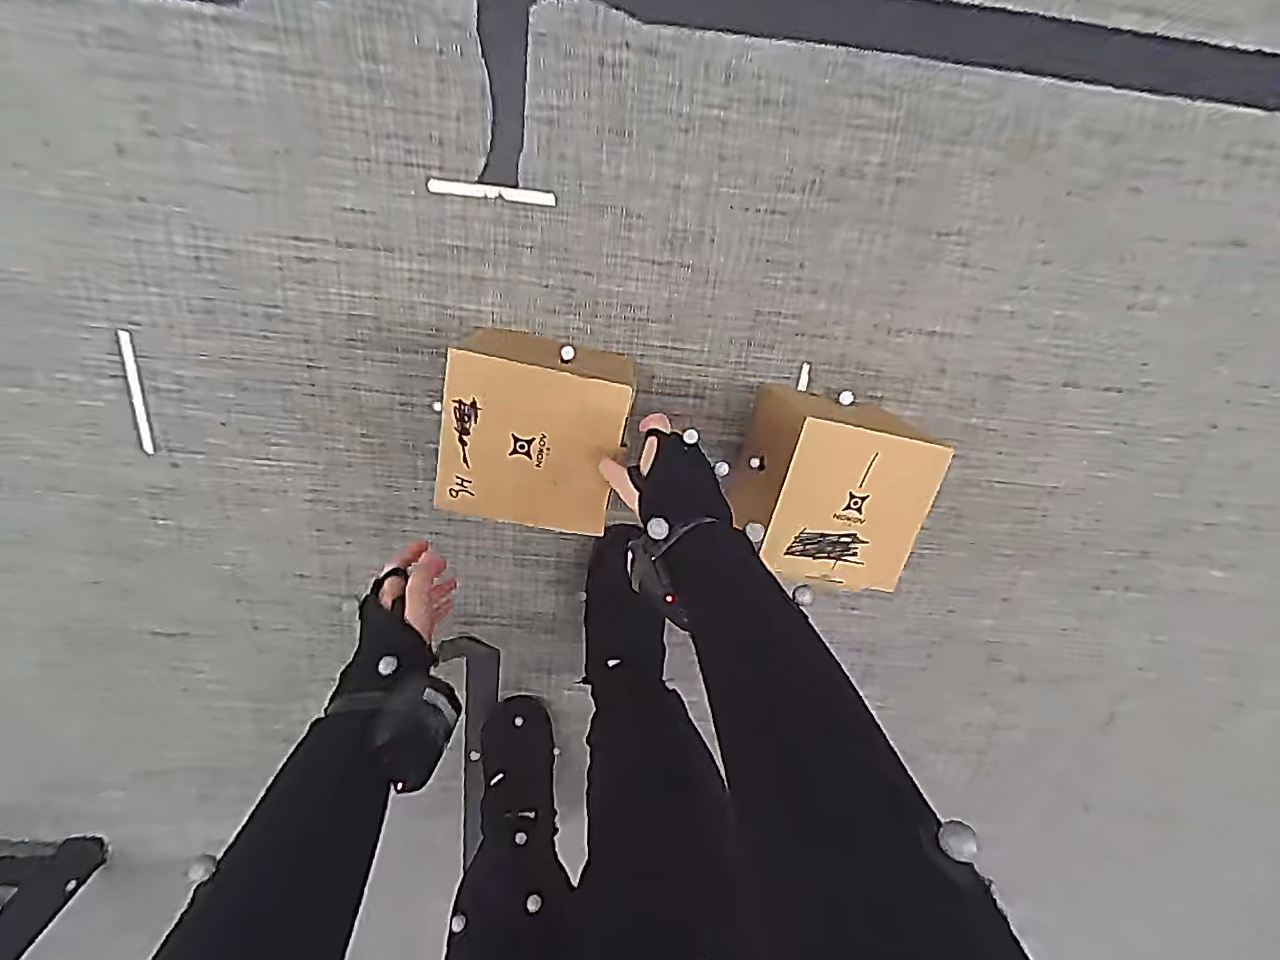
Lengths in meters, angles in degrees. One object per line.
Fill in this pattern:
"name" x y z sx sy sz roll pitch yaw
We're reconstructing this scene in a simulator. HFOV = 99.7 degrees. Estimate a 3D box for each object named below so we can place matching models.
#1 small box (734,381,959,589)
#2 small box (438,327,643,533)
"small box" 0.221 -0.002 0.636 0.168 0.176 0.179 11 110 -8
"small box" -0.104 -0.063 0.594 0.179 0.176 0.168 11 111 -8
